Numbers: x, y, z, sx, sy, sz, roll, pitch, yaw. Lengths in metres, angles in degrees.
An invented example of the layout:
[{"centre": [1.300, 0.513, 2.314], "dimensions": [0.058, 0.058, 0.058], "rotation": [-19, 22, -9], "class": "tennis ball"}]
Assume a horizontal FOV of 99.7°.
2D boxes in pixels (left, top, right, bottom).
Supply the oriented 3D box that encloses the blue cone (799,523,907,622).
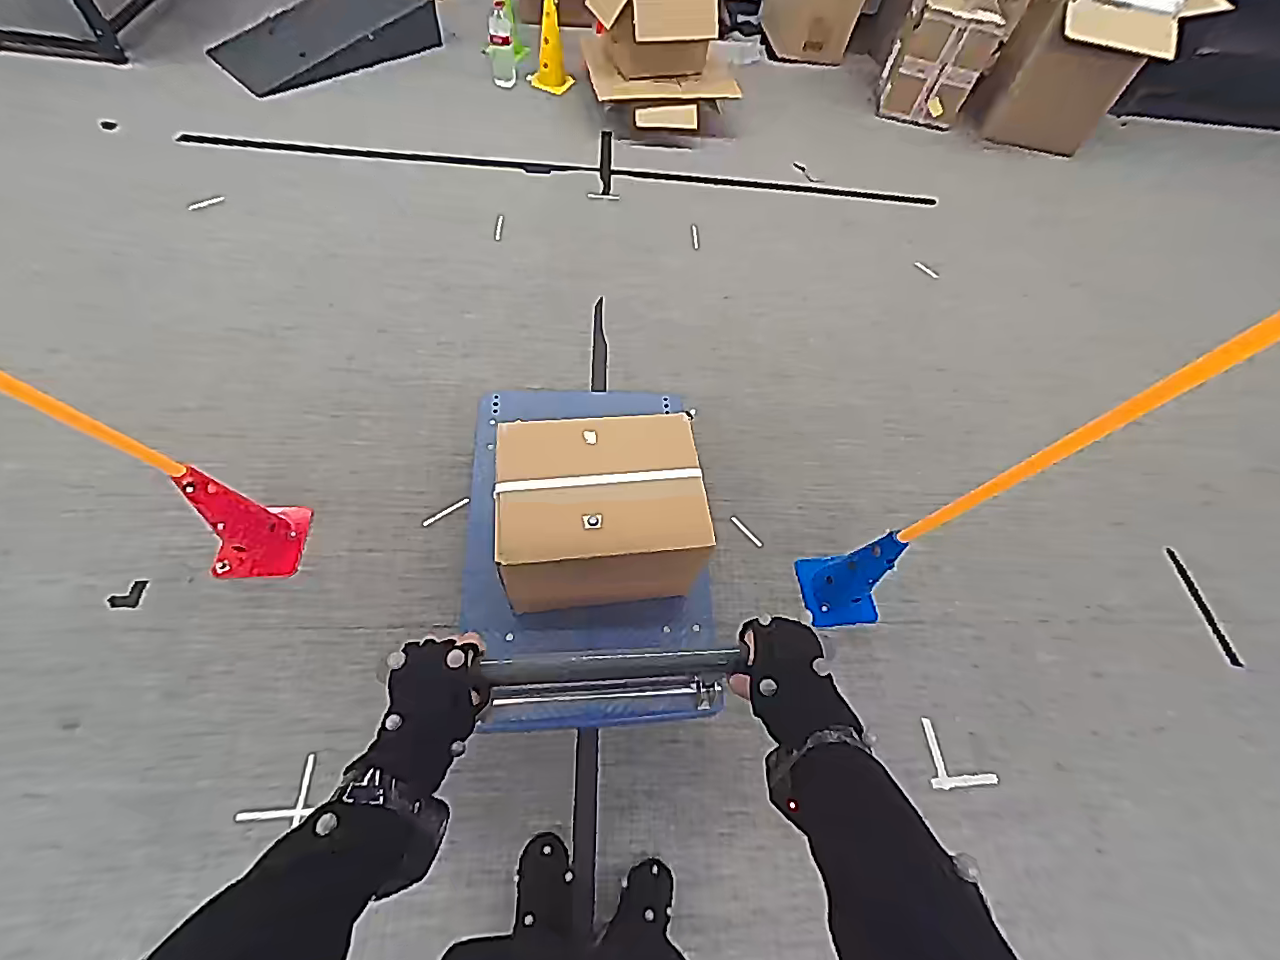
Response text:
[{"centre": [0.574, 0.218, 1.382], "dimensions": [0.193, 0.380, 0.192], "rotation": [-1, 59, -9], "class": "blue cone"}]
